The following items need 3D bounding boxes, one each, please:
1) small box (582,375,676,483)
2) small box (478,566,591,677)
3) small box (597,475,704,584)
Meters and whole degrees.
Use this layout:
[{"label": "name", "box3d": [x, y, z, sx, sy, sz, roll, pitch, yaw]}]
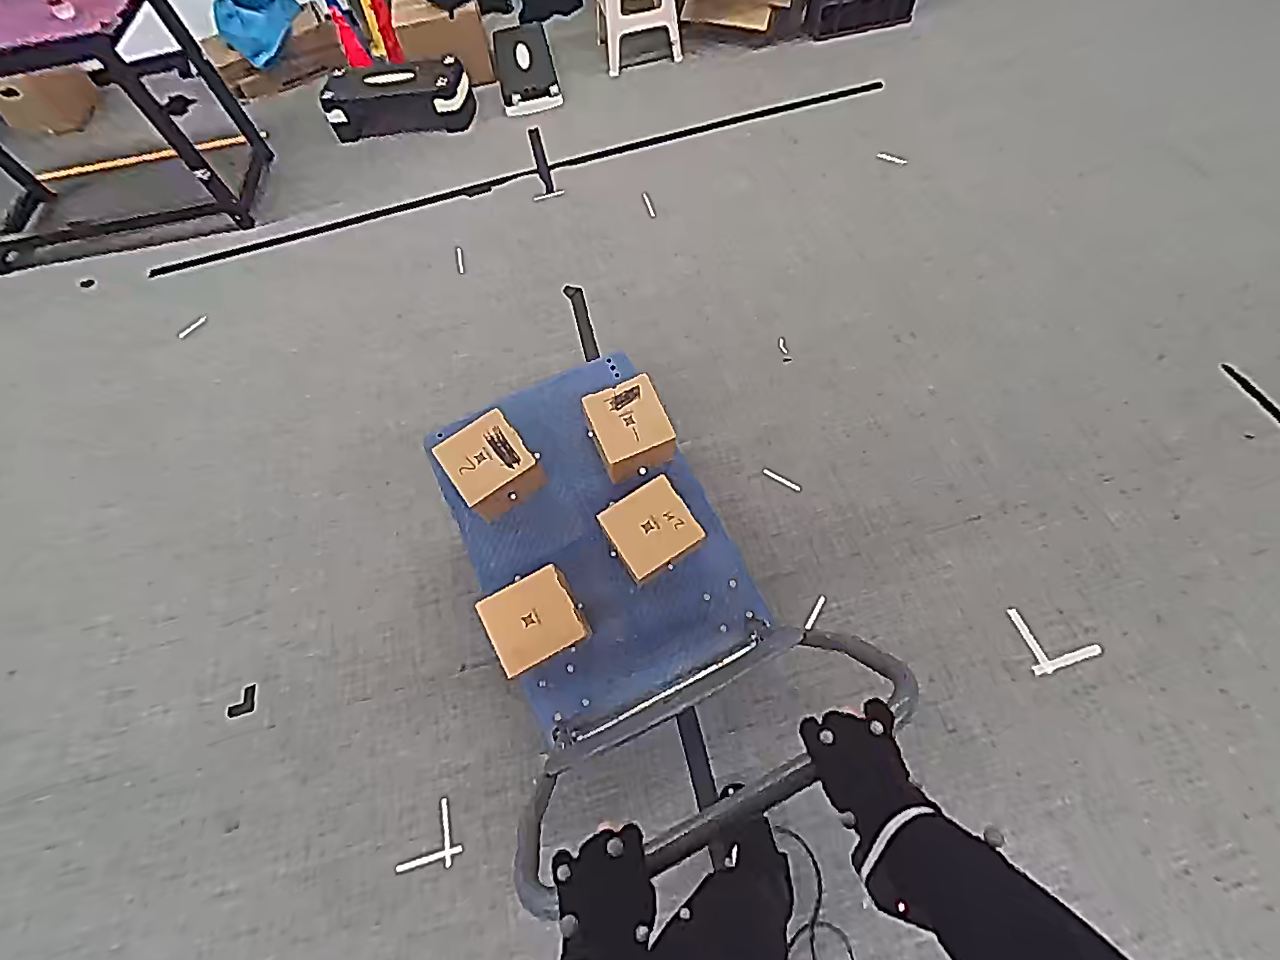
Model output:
[{"label": "small box", "box3d": [-0.027, -0.116, 1.293, 0.168, 0.176, 0.179, -23, 76, -6]}, {"label": "small box", "box3d": [-0.220, 0.309, 1.169, 0.179, 0.176, 0.168, -28, 75, -10]}, {"label": "small box", "box3d": [0.025, 0.120, 1.223, 0.179, 0.176, 0.168, -33, 76, -8]}]
